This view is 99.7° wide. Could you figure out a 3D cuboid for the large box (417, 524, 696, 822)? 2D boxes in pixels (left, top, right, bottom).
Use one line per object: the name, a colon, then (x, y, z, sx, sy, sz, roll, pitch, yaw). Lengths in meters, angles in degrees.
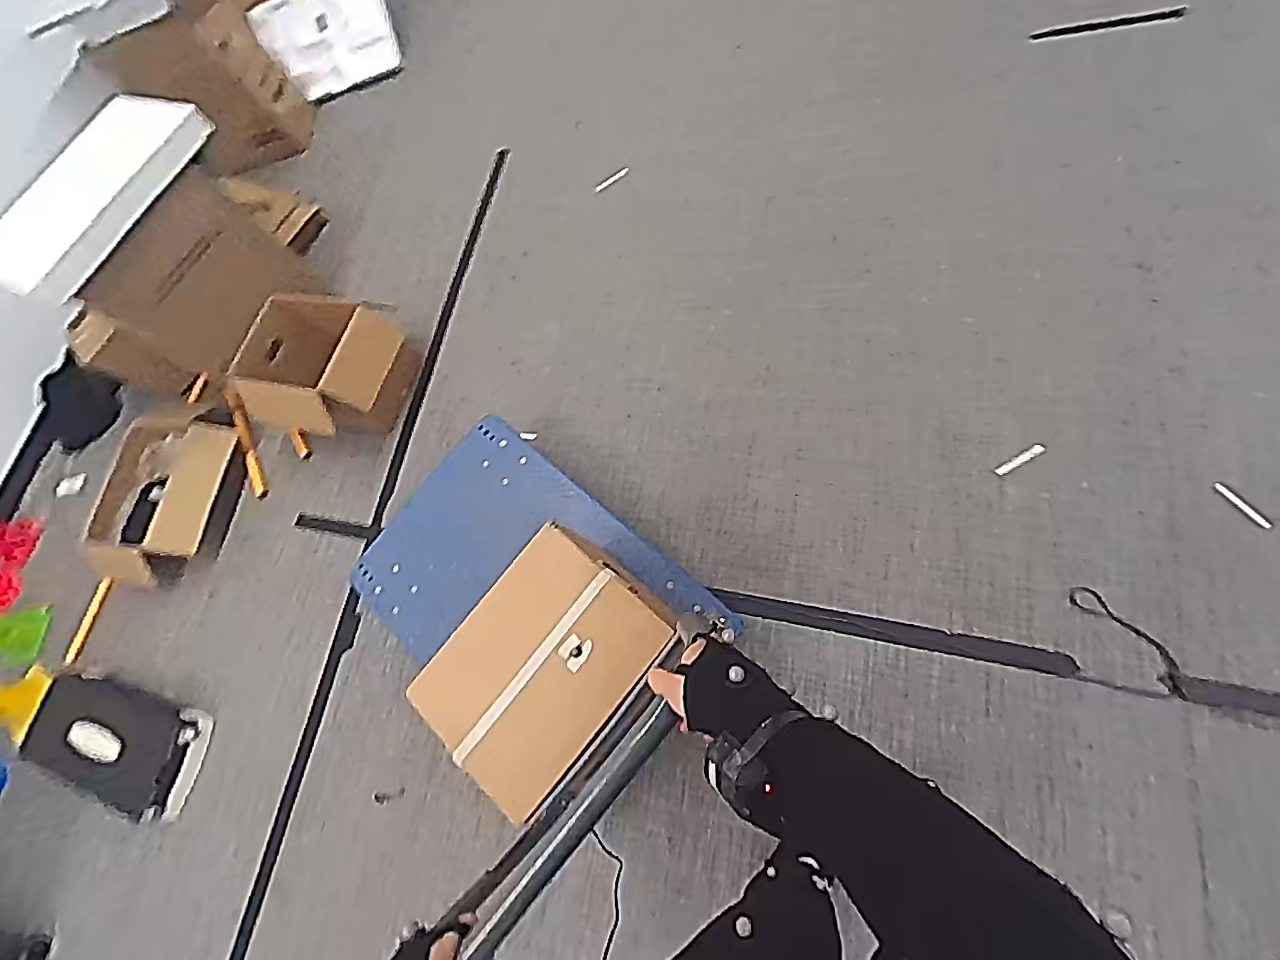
large box: (-0.142, 0.363, 1.083, 0.320, 0.320, 0.408, 37, 84, 20)
